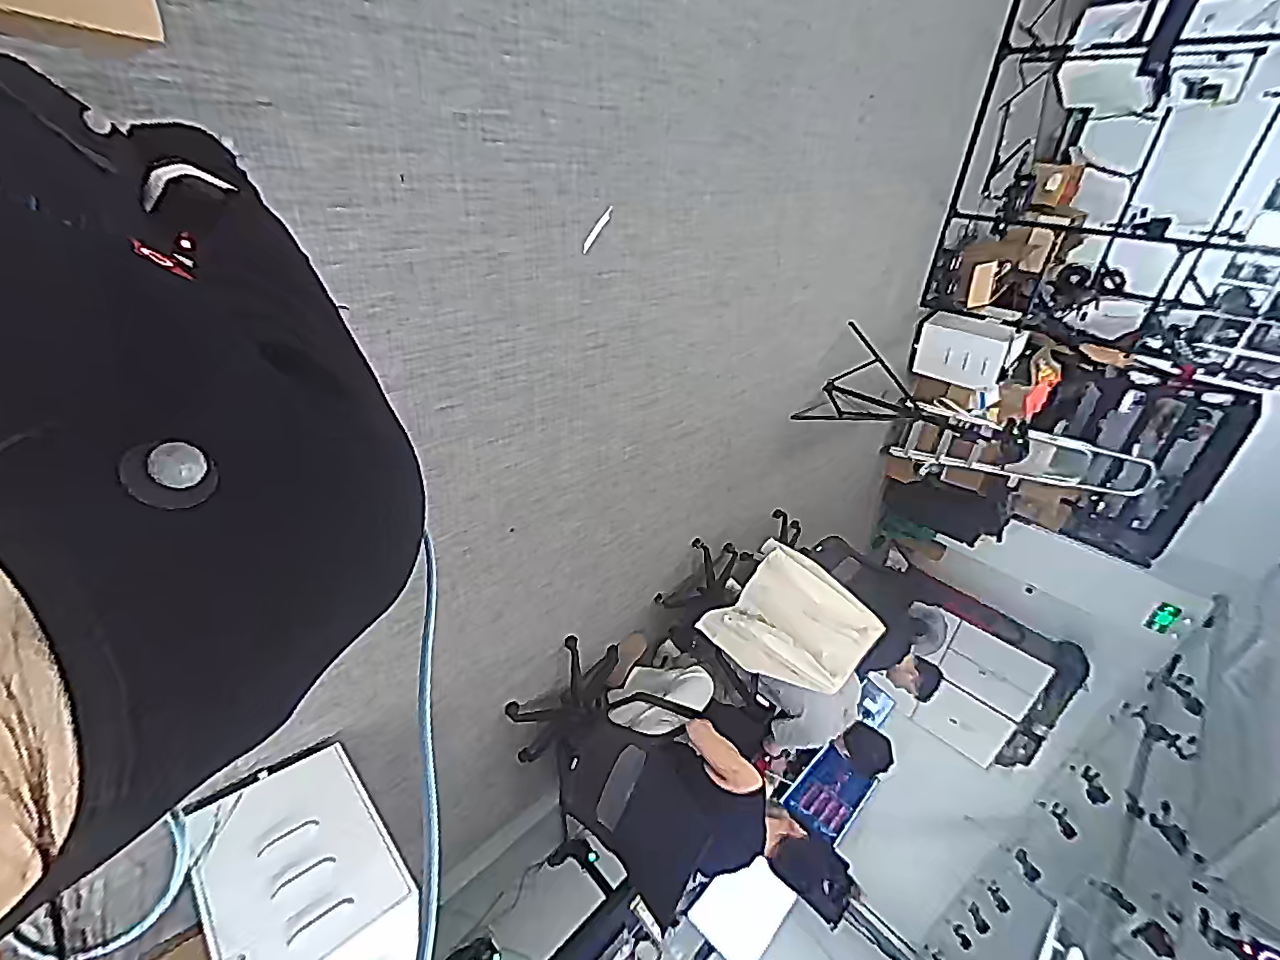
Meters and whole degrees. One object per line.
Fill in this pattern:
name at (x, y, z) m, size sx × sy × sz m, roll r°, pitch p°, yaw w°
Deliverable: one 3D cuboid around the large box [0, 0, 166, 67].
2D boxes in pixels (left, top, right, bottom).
large box at (-0.855, -0.699, 0.600) m, size 0.408 × 0.320 × 0.320 m, roll -21°, pitch 129°, yaw -42°
